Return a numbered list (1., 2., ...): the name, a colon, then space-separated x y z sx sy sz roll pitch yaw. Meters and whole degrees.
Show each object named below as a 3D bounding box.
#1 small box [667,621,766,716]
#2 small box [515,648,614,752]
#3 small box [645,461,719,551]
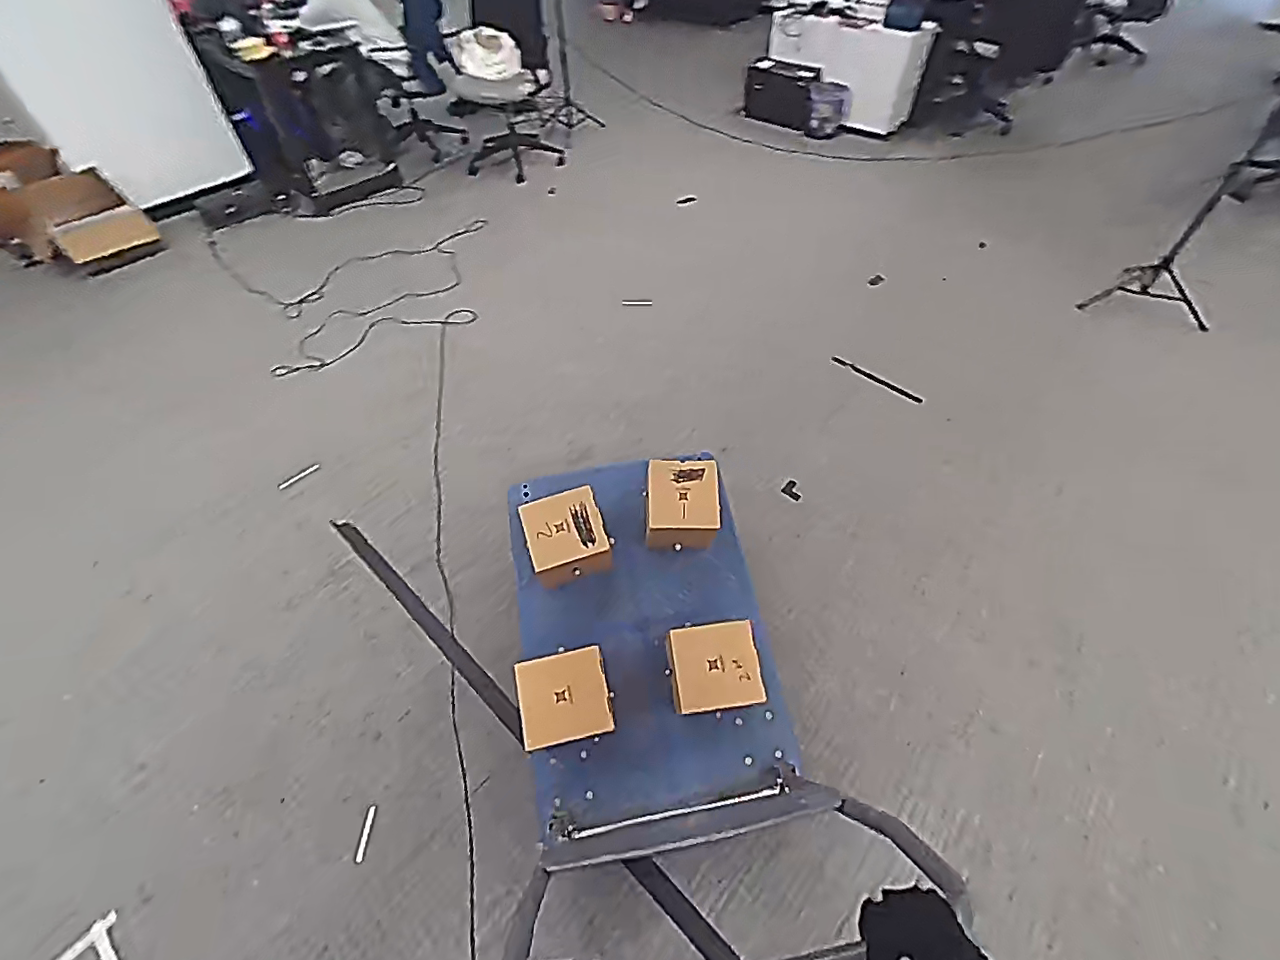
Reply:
1. small box: 0.156 0.414 1.177 0.179 0.176 0.168 -7 66 -5
2. small box: -0.155 0.468 1.143 0.179 0.176 0.168 -11 66 -9
3. small box: 0.097 0.066 1.335 0.168 0.176 0.179 0 66 -2
